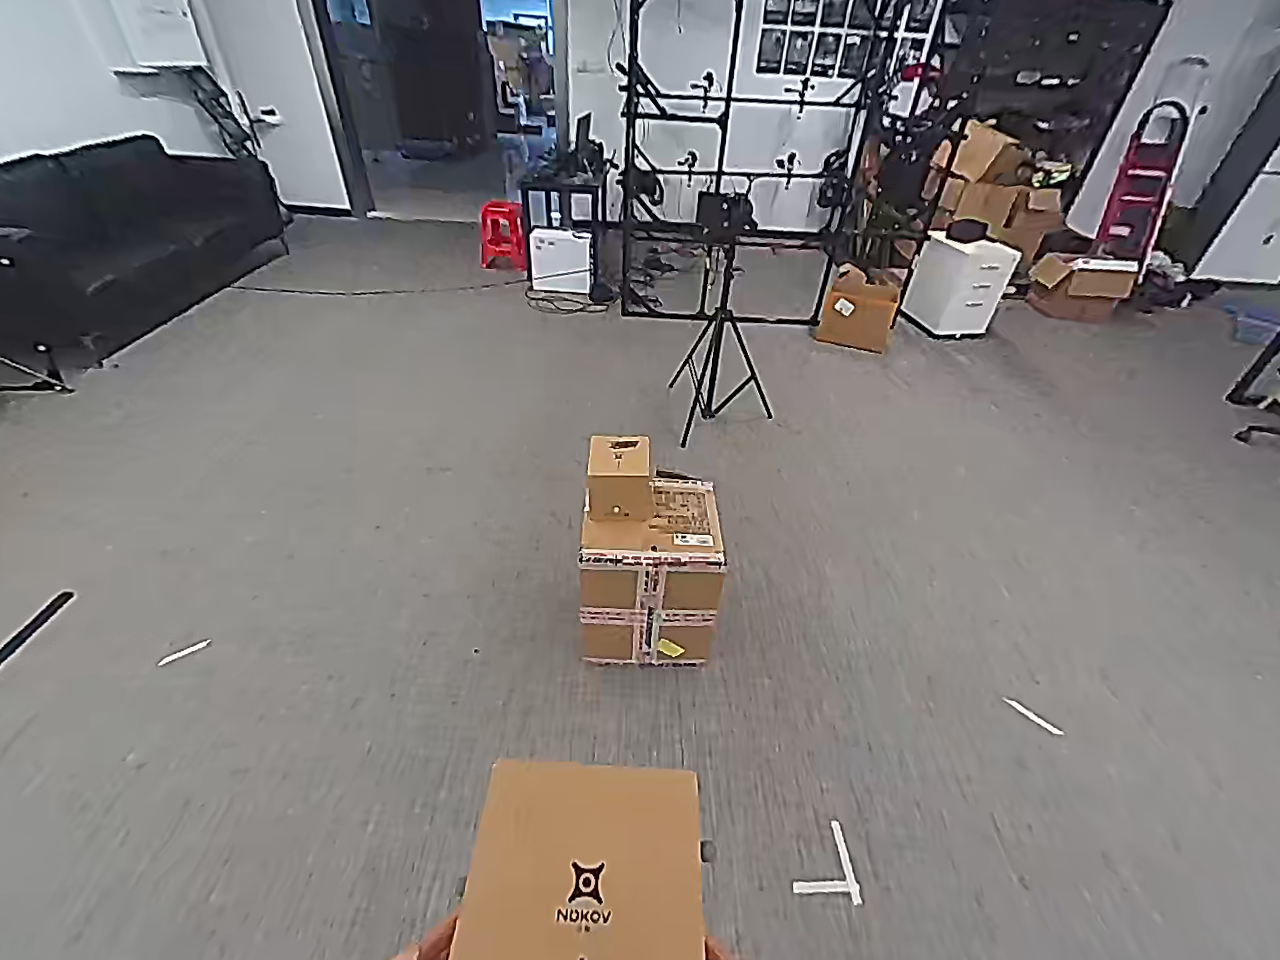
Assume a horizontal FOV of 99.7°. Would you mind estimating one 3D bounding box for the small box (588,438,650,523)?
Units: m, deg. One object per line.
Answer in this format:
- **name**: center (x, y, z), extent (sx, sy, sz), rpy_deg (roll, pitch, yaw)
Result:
- **small box**: center (-0.057, 0.000, 1.529), extent (0.168, 0.176, 0.179), rpy_deg (0, 41, 0)
